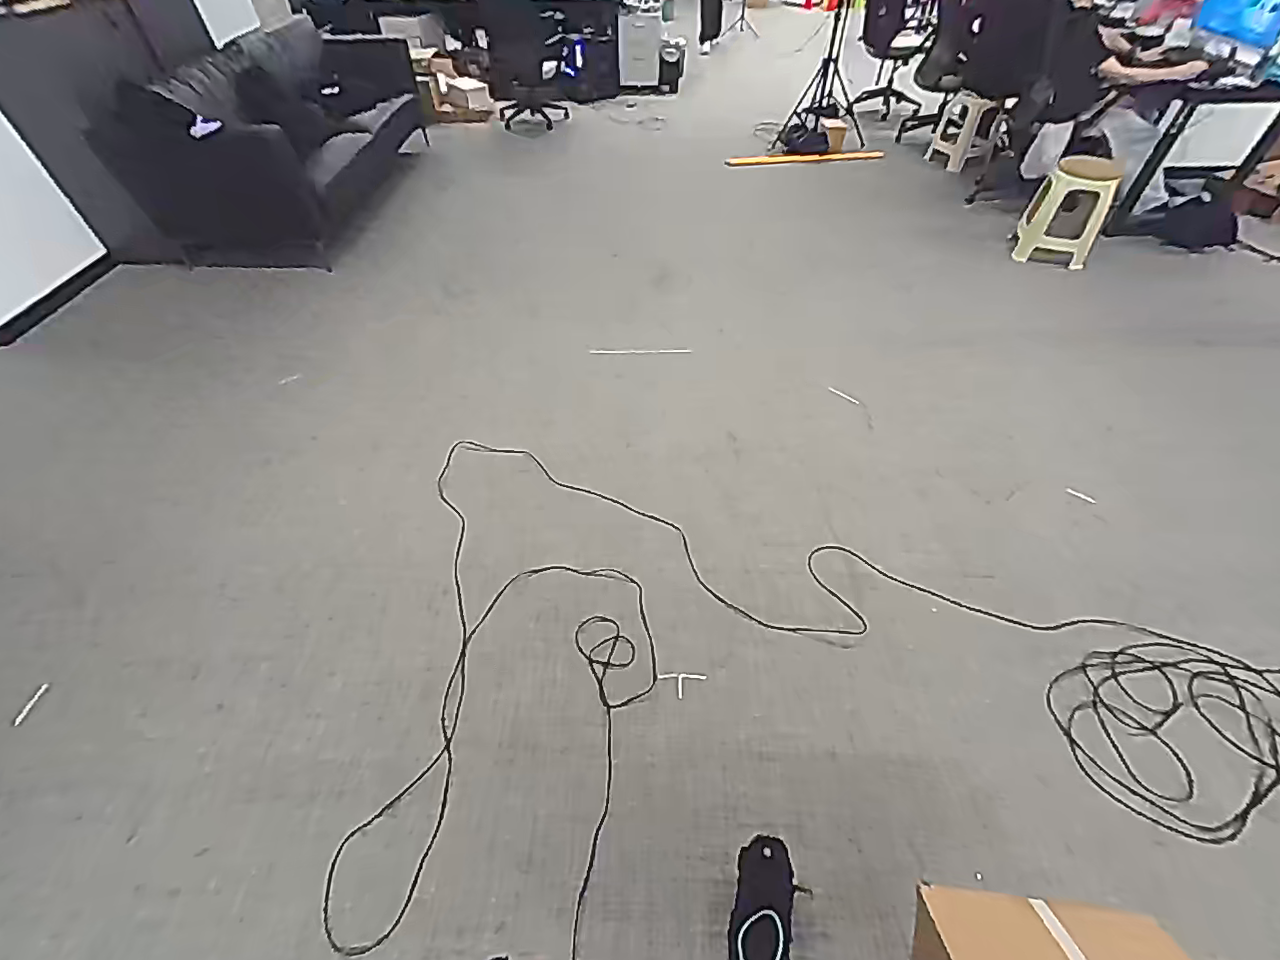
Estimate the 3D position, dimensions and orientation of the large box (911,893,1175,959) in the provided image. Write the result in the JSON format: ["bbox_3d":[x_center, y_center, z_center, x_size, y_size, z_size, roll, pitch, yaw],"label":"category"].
[{"bbox_3d":[0.529,0.779,0.596,0.320,0.320,0.408,4,5,7],"label":"large box"}]
